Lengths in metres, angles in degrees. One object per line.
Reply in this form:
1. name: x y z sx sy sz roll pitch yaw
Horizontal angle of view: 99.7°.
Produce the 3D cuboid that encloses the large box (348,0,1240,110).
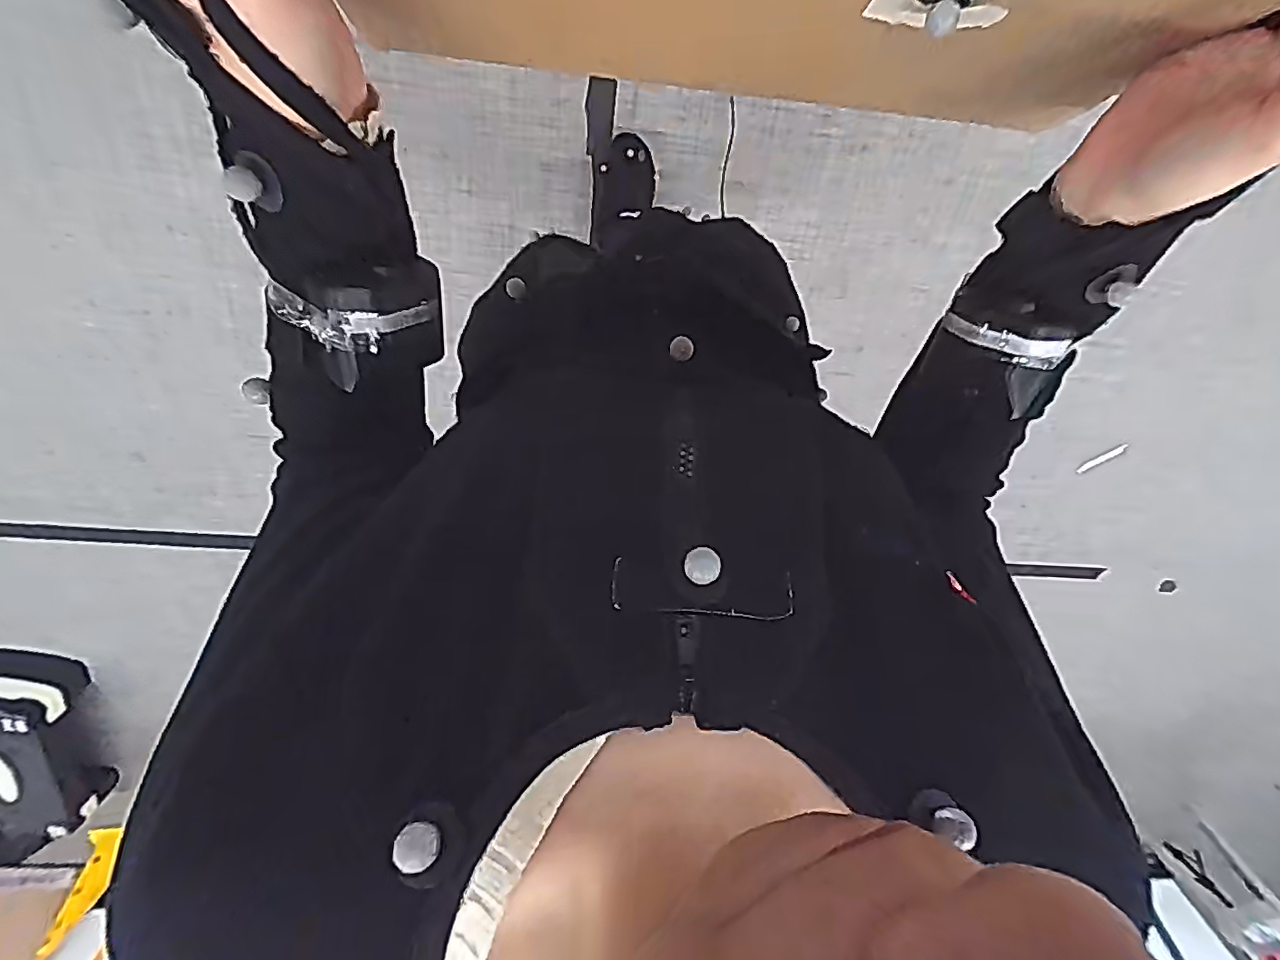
1. large box: 0.068 -0.354 0.143 0.408 0.320 0.320 2 103 -6
